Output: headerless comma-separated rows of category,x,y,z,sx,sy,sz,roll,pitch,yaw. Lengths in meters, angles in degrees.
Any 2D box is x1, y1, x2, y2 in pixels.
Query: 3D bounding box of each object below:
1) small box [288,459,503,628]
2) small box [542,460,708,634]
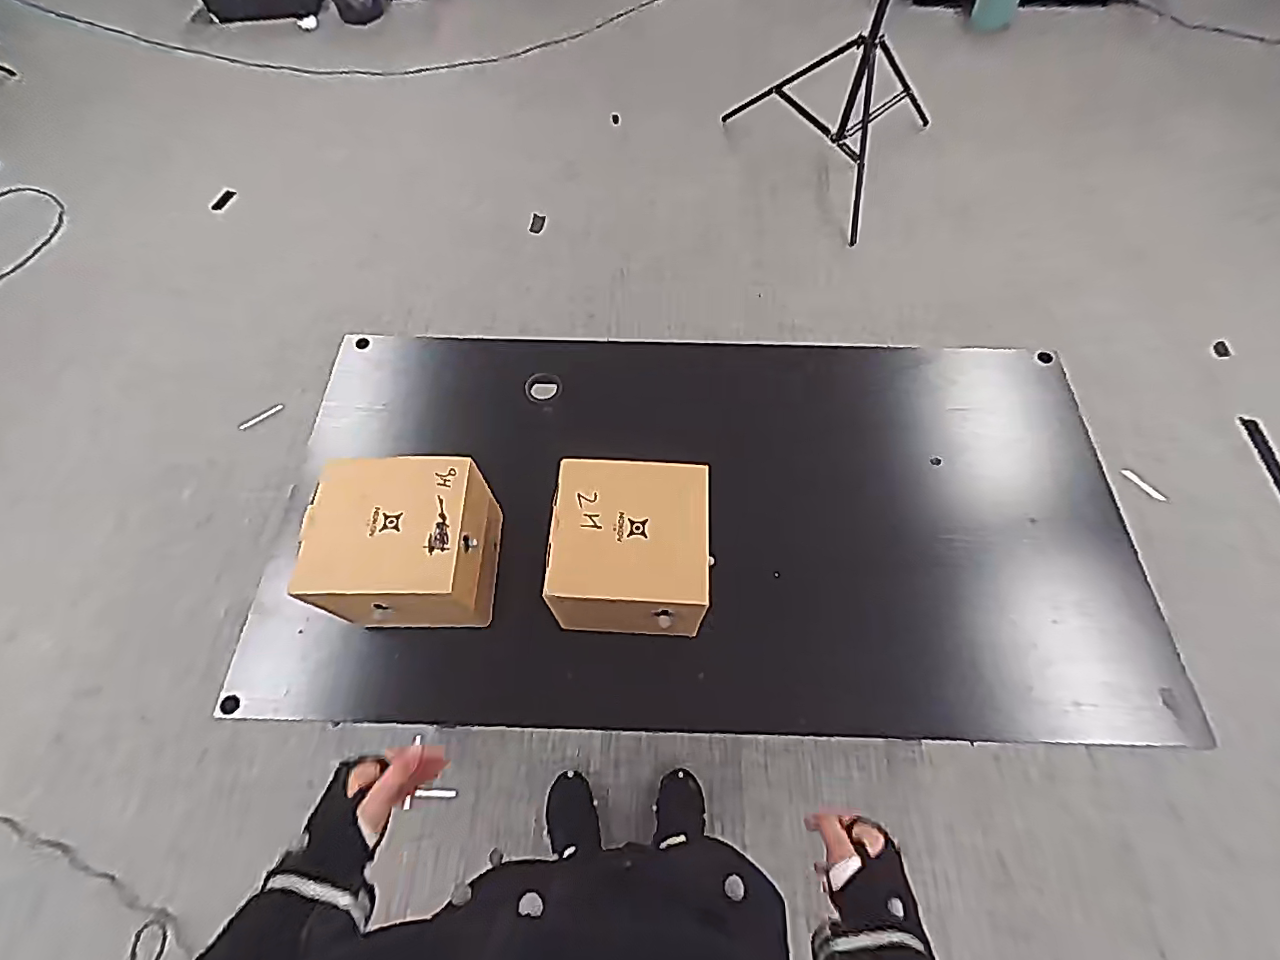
small box,-0.285,0.086,0.675,0.179,0.176,0.168,-1,63,0
small box,-0.012,0.090,0.670,0.179,0.176,0.168,2,63,2
